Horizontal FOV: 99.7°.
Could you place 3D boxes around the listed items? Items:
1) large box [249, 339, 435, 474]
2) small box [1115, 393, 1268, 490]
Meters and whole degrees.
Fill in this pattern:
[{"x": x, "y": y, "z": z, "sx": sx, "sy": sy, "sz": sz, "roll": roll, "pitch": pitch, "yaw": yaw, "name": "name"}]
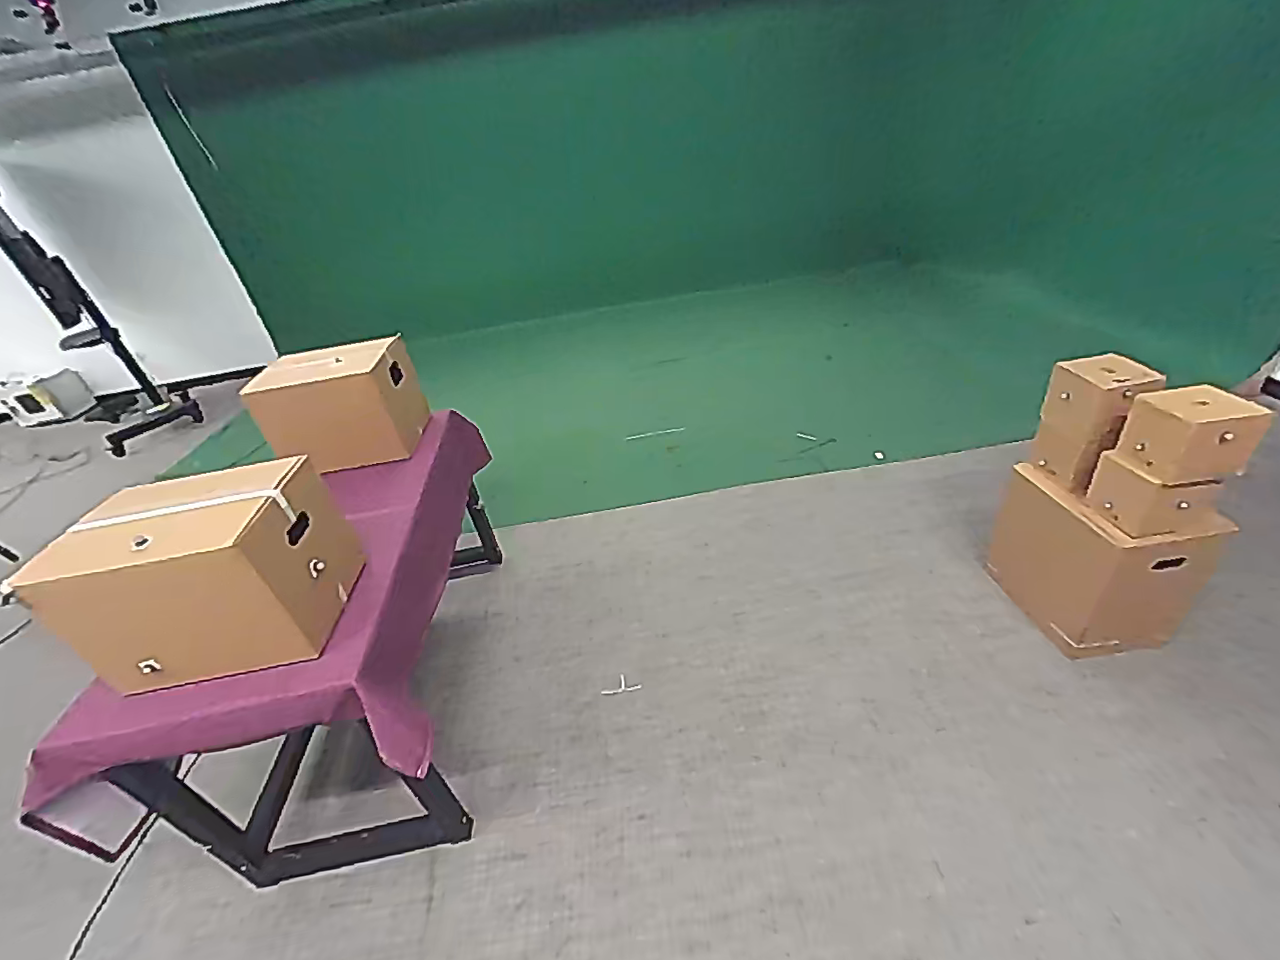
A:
[{"x": -0.959, "y": -0.248, "z": 1.802, "sx": 0.408, "sy": 0.320, "sz": 0.320, "roll": -9, "pitch": 34, "yaw": 0, "name": "large box"}, {"x": 1.326, "y": -0.094, "z": 1.318, "sx": 0.179, "sy": 0.176, "sz": 0.168, "roll": -8, "pitch": 32, "yaw": 3, "name": "small box"}]
